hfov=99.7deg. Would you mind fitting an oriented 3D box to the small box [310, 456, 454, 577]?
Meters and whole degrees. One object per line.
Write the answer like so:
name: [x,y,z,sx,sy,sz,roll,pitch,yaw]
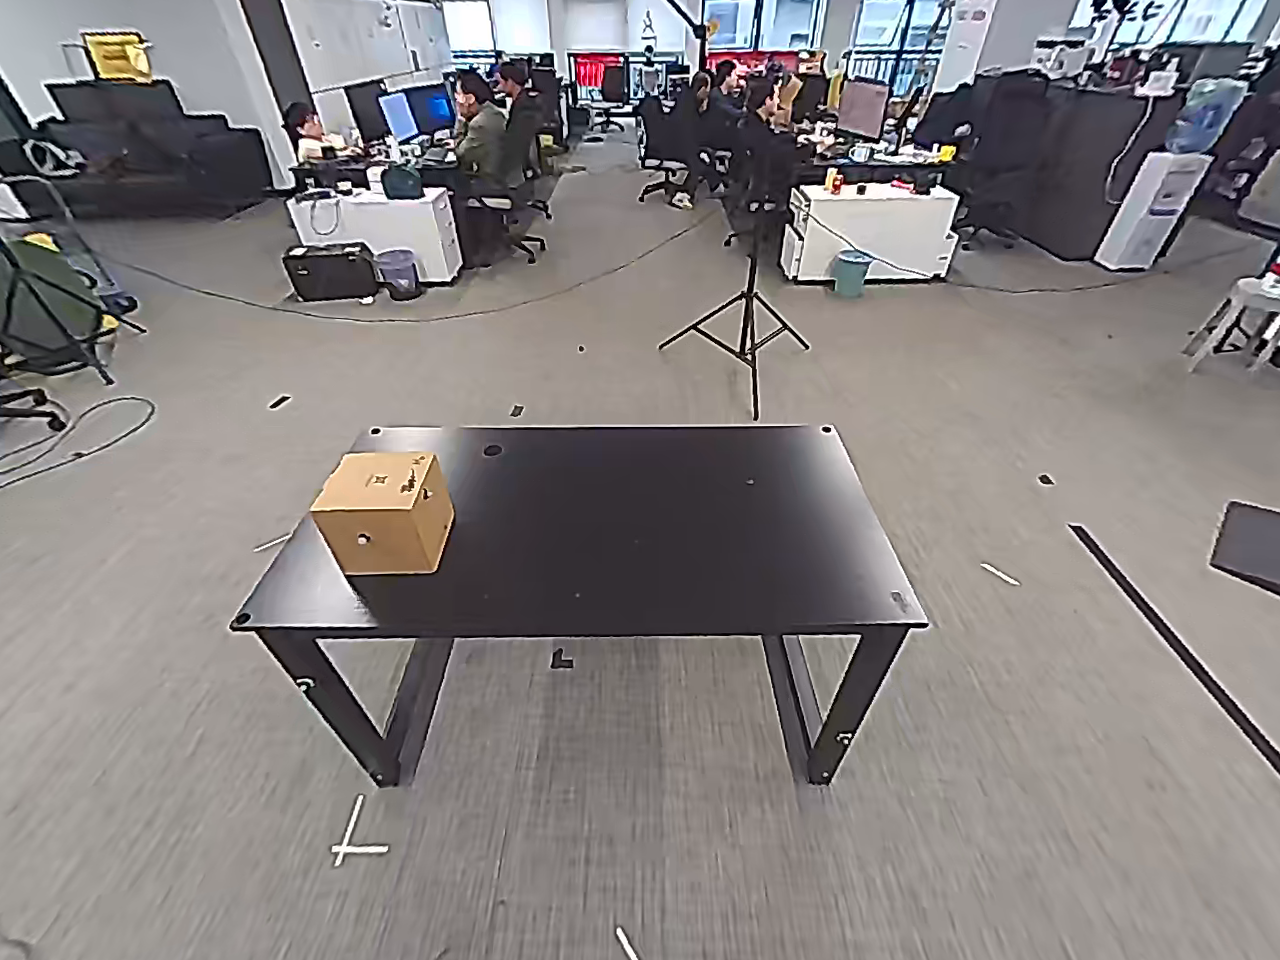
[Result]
small box: [-0.478,0.071,1.033,0.179,0.176,0.168,-2,40,-1]
